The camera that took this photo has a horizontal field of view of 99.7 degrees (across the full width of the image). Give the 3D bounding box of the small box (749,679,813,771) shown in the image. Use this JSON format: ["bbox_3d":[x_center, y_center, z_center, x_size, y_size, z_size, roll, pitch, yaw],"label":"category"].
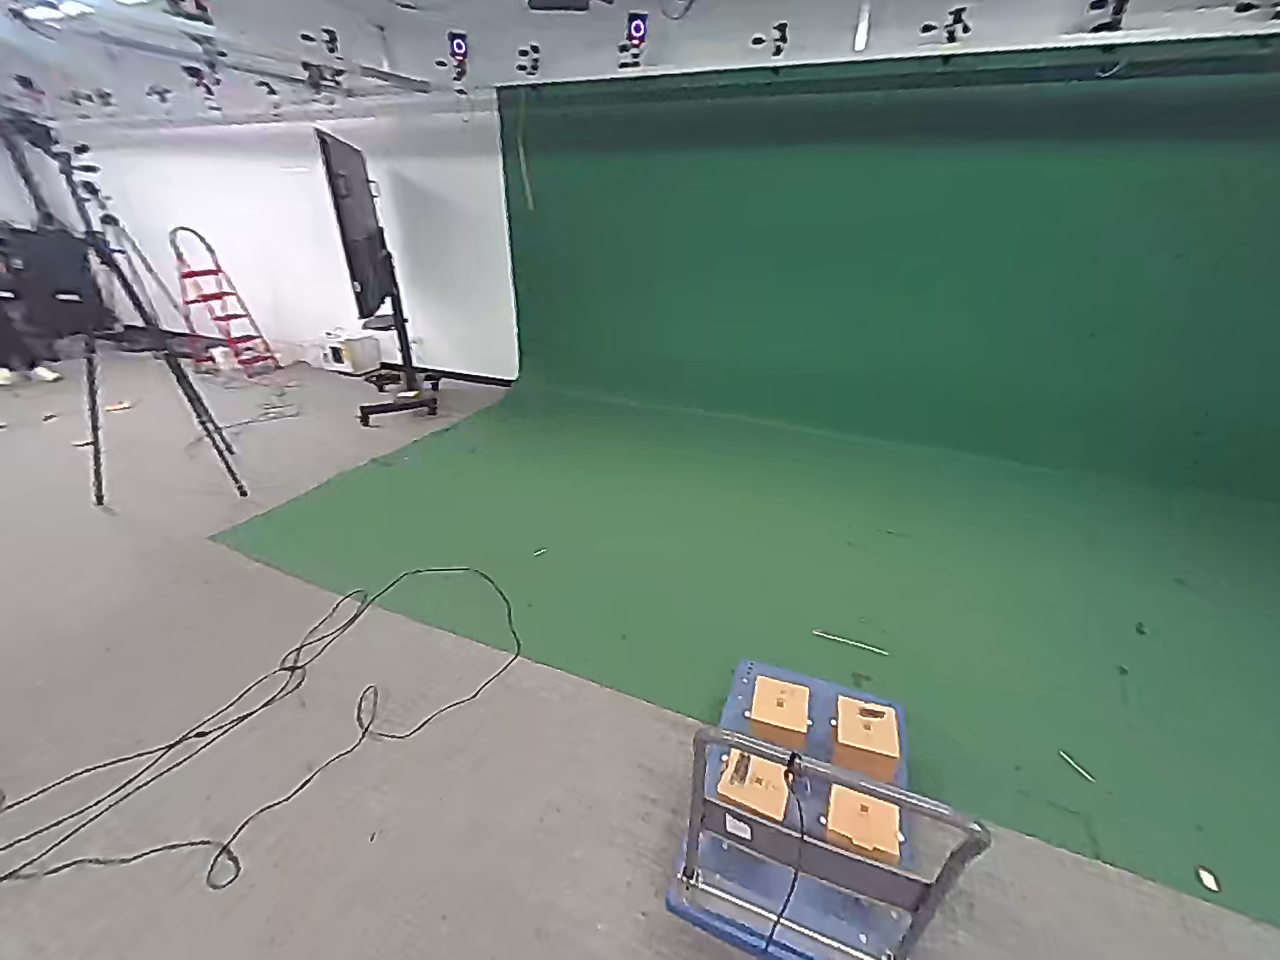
[{"bbox_3d":[0.437,0.762,1.680,0.168,0.176,0.179,9,29,16],"label":"small box"}]

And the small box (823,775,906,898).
[{"bbox_3d":[0.575,0.912,1.389,0.168,0.176,0.179,11,30,20],"label":"small box"}]

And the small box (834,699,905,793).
[{"bbox_3d":[0.677,0.797,1.611,0.168,0.176,0.179,8,29,17],"label":"small box"}]
